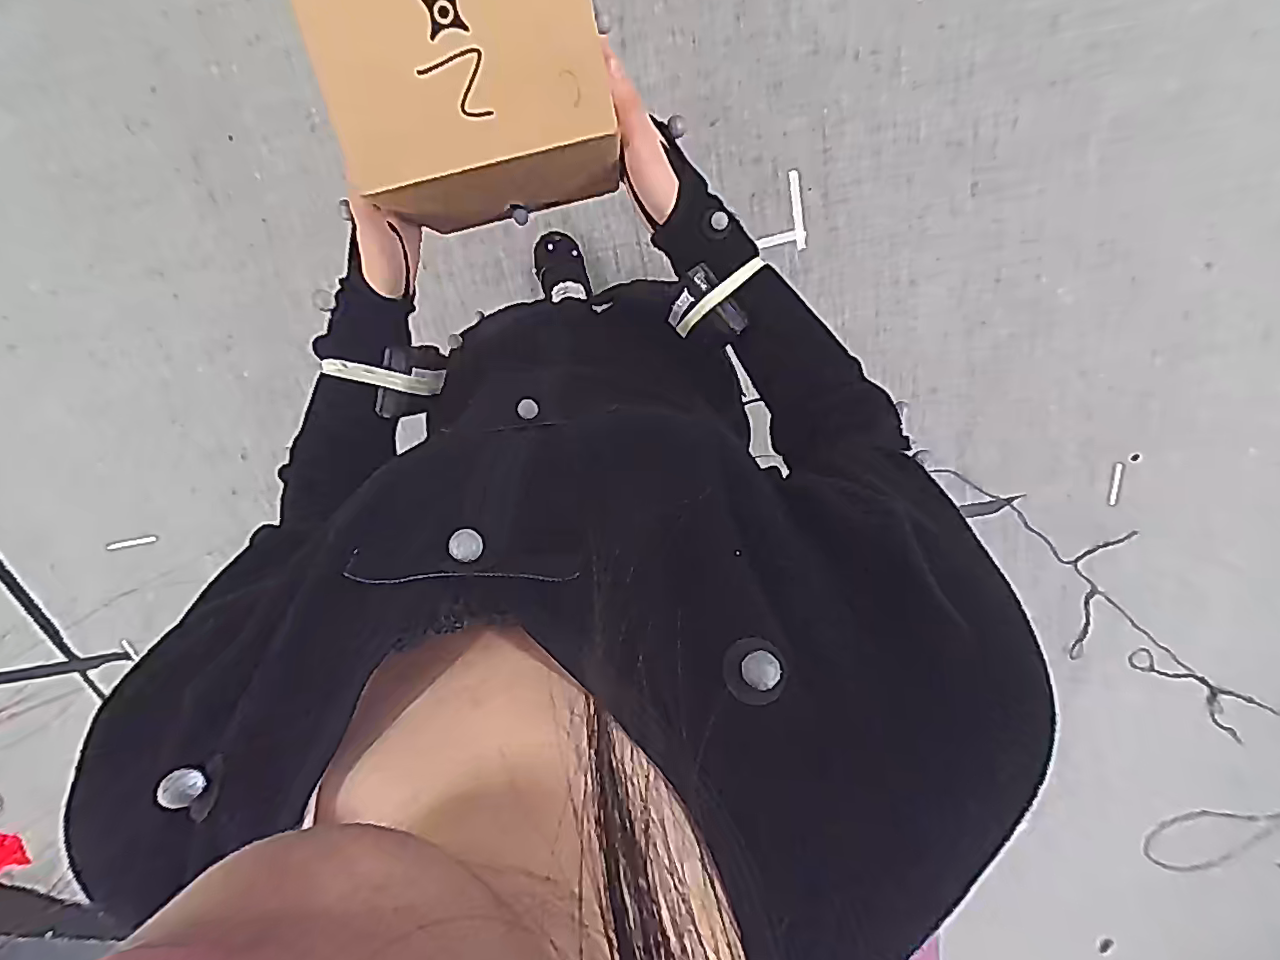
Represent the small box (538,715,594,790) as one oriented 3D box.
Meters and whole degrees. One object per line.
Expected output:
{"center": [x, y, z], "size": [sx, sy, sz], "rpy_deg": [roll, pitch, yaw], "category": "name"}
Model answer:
{"center": [-0.256, 0.944, 1.882], "size": [0.179, 0.176, 0.168], "rpy_deg": [4, 113, -6], "category": "small box"}
